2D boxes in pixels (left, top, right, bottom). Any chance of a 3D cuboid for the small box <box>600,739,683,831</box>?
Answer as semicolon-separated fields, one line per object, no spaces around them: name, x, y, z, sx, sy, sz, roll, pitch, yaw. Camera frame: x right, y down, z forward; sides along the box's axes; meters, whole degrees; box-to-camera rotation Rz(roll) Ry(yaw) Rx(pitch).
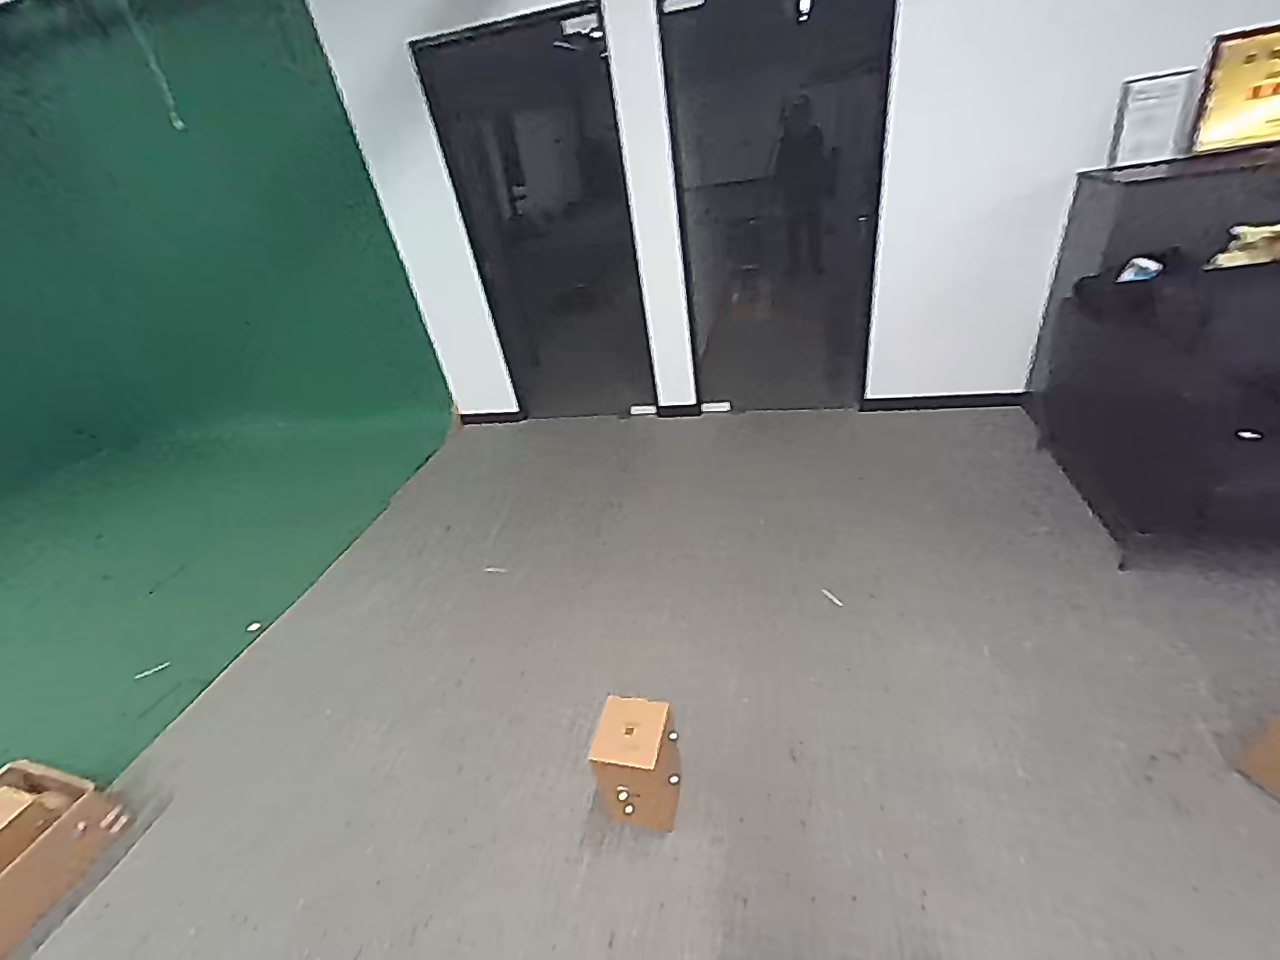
small box;0.010;0.809;1.453;0.179;0.176;0.168;0;34;17

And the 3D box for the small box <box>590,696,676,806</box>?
small box;-0.010;0.678;1.358;0.168;0.176;0.179;0;34;17
